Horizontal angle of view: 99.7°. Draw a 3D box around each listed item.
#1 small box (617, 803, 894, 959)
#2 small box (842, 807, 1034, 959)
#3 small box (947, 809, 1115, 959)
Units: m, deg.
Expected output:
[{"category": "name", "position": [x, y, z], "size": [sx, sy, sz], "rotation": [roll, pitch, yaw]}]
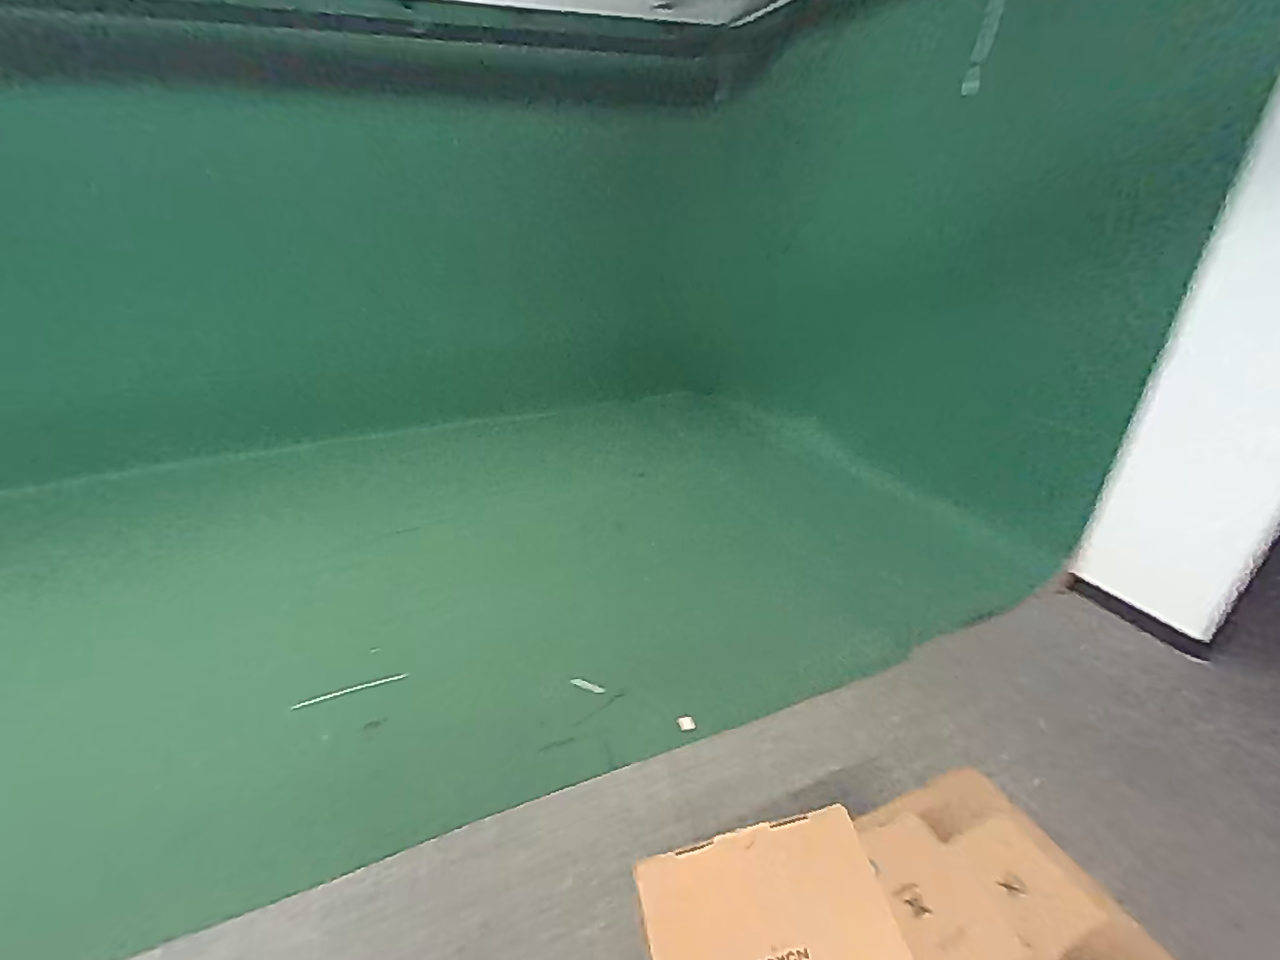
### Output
[{"category": "small box", "position": [0.085, 0.374, 0.395], "size": [0.168, 0.176, 0.179], "rotation": [-11, 45, -10]}, {"category": "small box", "position": [0.333, 0.567, 0.680], "size": [0.168, 0.176, 0.179], "rotation": [-13, 30, -16]}, {"category": "small box", "position": [0.561, 0.661, 0.832], "size": [0.179, 0.176, 0.168], "rotation": [-12, 28, -20]}]
